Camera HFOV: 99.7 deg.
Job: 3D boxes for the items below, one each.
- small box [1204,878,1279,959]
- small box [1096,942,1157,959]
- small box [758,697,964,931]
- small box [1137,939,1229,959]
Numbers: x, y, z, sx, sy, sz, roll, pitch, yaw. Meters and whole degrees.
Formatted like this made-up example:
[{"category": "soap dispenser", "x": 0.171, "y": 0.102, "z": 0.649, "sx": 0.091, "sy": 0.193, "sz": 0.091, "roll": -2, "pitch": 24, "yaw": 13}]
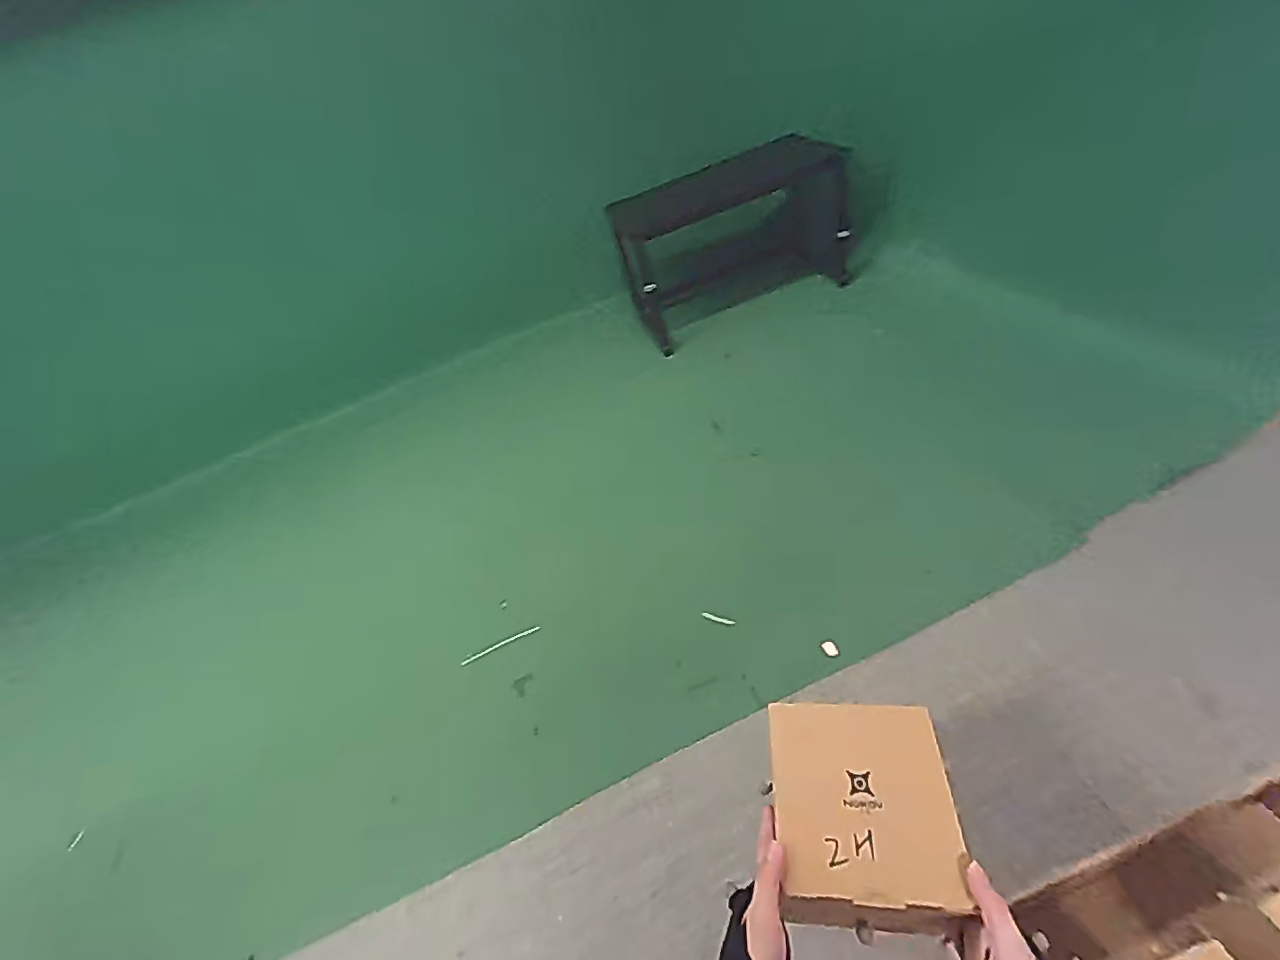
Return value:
[{"category": "small box", "x": 0.811, "y": 0.544, "z": 0.603, "sx": 0.179, "sy": 0.176, "sz": 0.168, "roll": -24, "pitch": 42, "yaw": -1}, {"category": "small box", "x": 0.632, "y": 0.744, "z": 0.702, "sx": 0.179, "sy": 0.176, "sz": 0.168, "roll": -21, "pitch": 42, "yaw": -3}, {"category": "small box", "x": 0.215, "y": 0.357, "z": 0.584, "sx": 0.168, "sy": 0.176, "sz": 0.179, "roll": -3, "pitch": 45, "yaw": 10}, {"category": "small box", "x": 0.585, "y": 0.639, "z": 0.586, "sx": 0.179, "sy": 0.176, "sz": 0.168, "roll": -20, "pitch": 43, "yaw": -1}]
